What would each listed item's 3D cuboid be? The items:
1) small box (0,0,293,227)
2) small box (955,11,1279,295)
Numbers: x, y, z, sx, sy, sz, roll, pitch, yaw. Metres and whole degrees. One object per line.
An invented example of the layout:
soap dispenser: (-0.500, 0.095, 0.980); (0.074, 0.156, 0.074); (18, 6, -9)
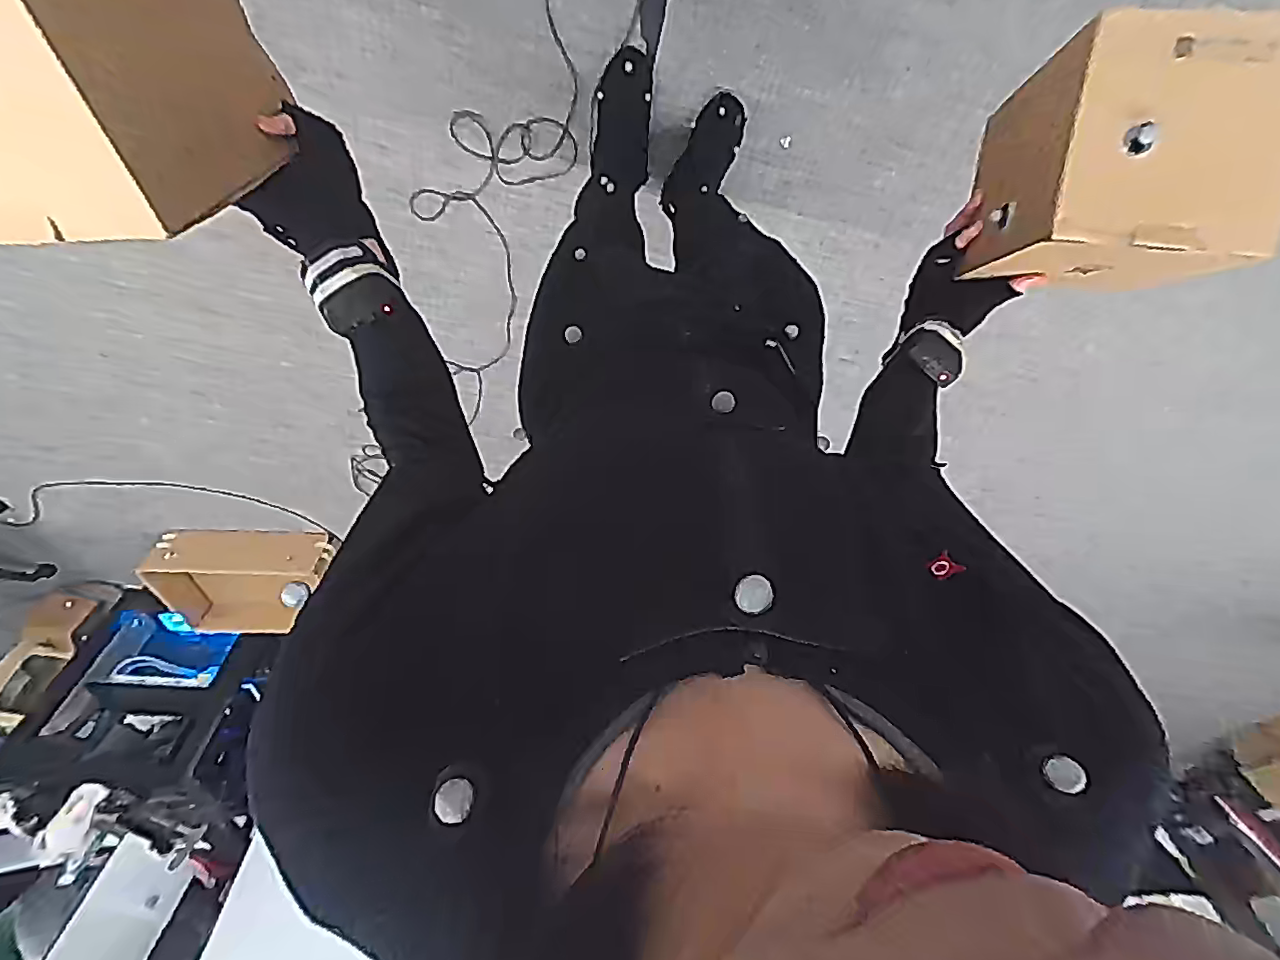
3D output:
small box: (-0.344, -0.258, 0.296); (0.168, 0.179, 0.176); (1, 137, -1)
small box: (0.421, -0.275, 0.487); (0.168, 0.179, 0.176); (8, 100, 5)
